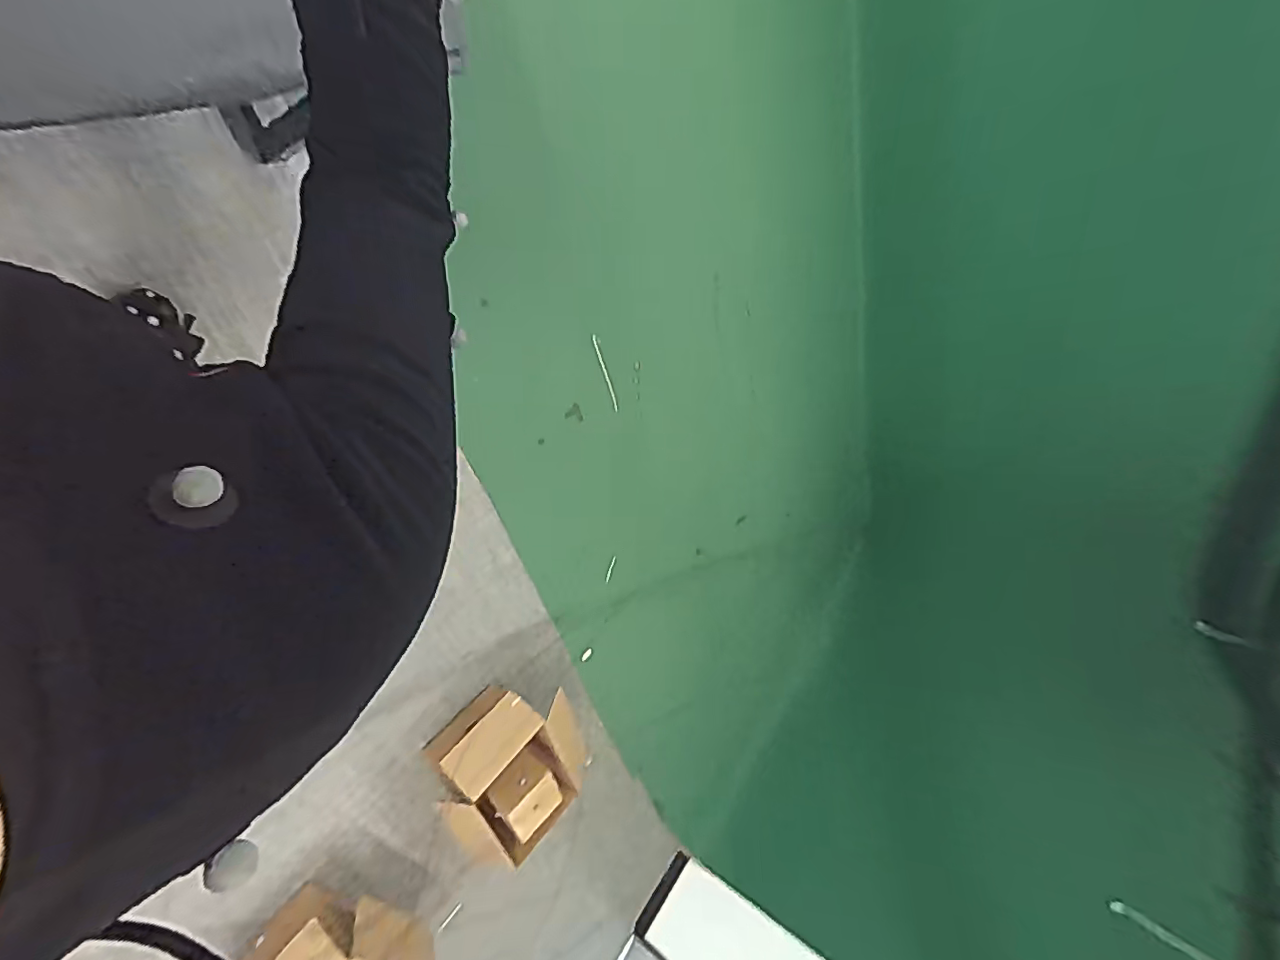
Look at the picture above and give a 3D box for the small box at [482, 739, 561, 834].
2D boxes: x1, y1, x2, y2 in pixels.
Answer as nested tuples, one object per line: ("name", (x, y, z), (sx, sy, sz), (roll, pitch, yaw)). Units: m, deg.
("small box", (-0.396, 1.005, 1.786), (0.179, 0.176, 0.168), (-38, 128, -36))
